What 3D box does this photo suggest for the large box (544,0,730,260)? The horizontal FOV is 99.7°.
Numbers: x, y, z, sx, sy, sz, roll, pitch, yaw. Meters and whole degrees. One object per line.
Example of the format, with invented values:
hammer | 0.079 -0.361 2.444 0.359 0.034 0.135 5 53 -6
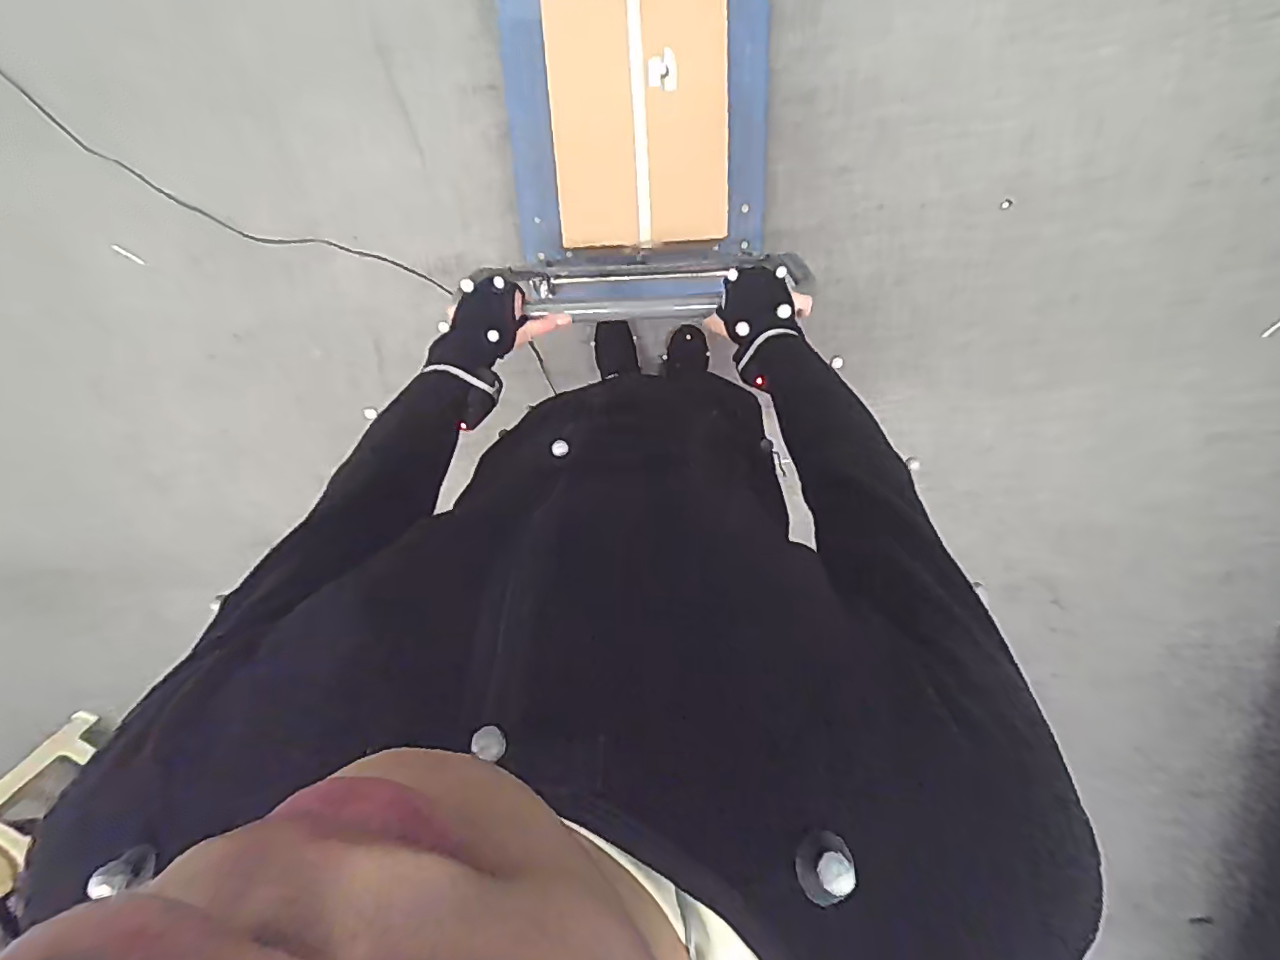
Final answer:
large box | 0.010 -0.681 1.097 0.320 0.320 0.408 -2 108 3
